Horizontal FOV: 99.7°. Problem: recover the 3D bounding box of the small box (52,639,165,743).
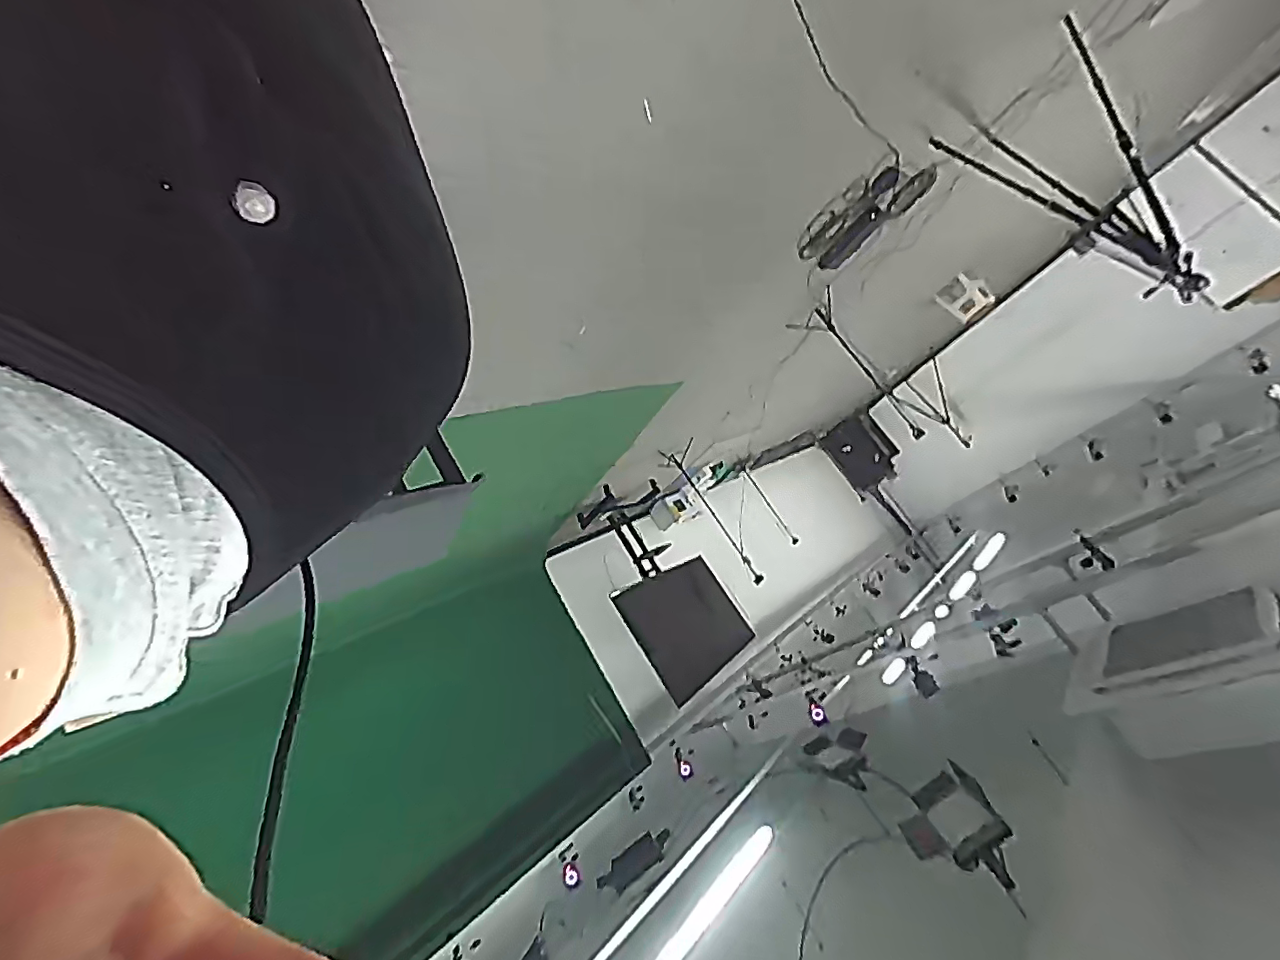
[{"bbox_3d":[-1.388,0.546,1.418,0.179,0.176,0.168,-18,158,-48],"label":"small box"}]
